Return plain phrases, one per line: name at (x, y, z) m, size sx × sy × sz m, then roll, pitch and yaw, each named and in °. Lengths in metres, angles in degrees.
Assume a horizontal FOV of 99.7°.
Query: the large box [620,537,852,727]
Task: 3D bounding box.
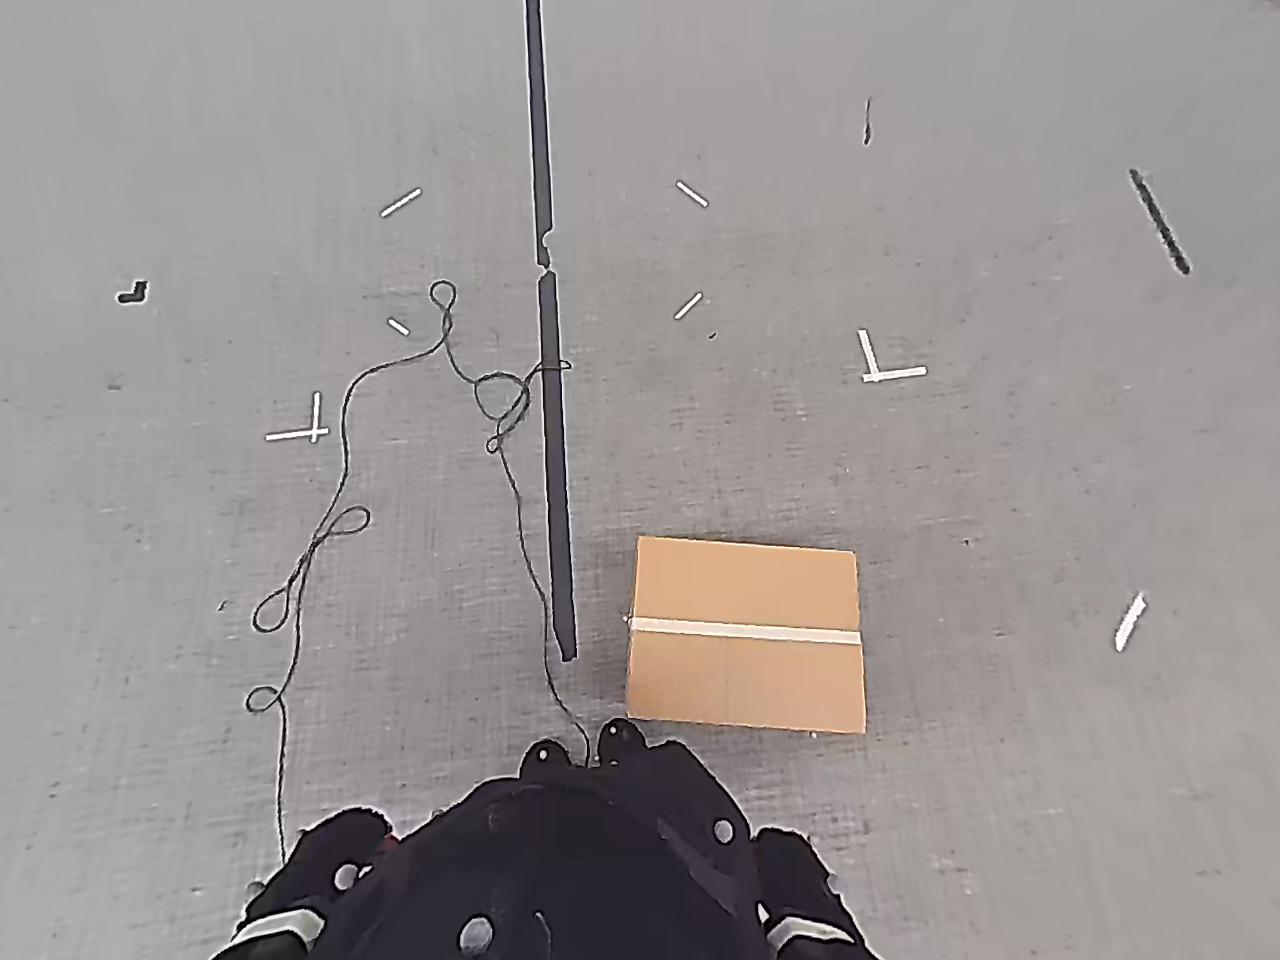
large box at (0.171, 0.307, 1.105) m, size 0.408 × 0.320 × 0.320 m, roll 5°, pitch 71°, yaw -1°
